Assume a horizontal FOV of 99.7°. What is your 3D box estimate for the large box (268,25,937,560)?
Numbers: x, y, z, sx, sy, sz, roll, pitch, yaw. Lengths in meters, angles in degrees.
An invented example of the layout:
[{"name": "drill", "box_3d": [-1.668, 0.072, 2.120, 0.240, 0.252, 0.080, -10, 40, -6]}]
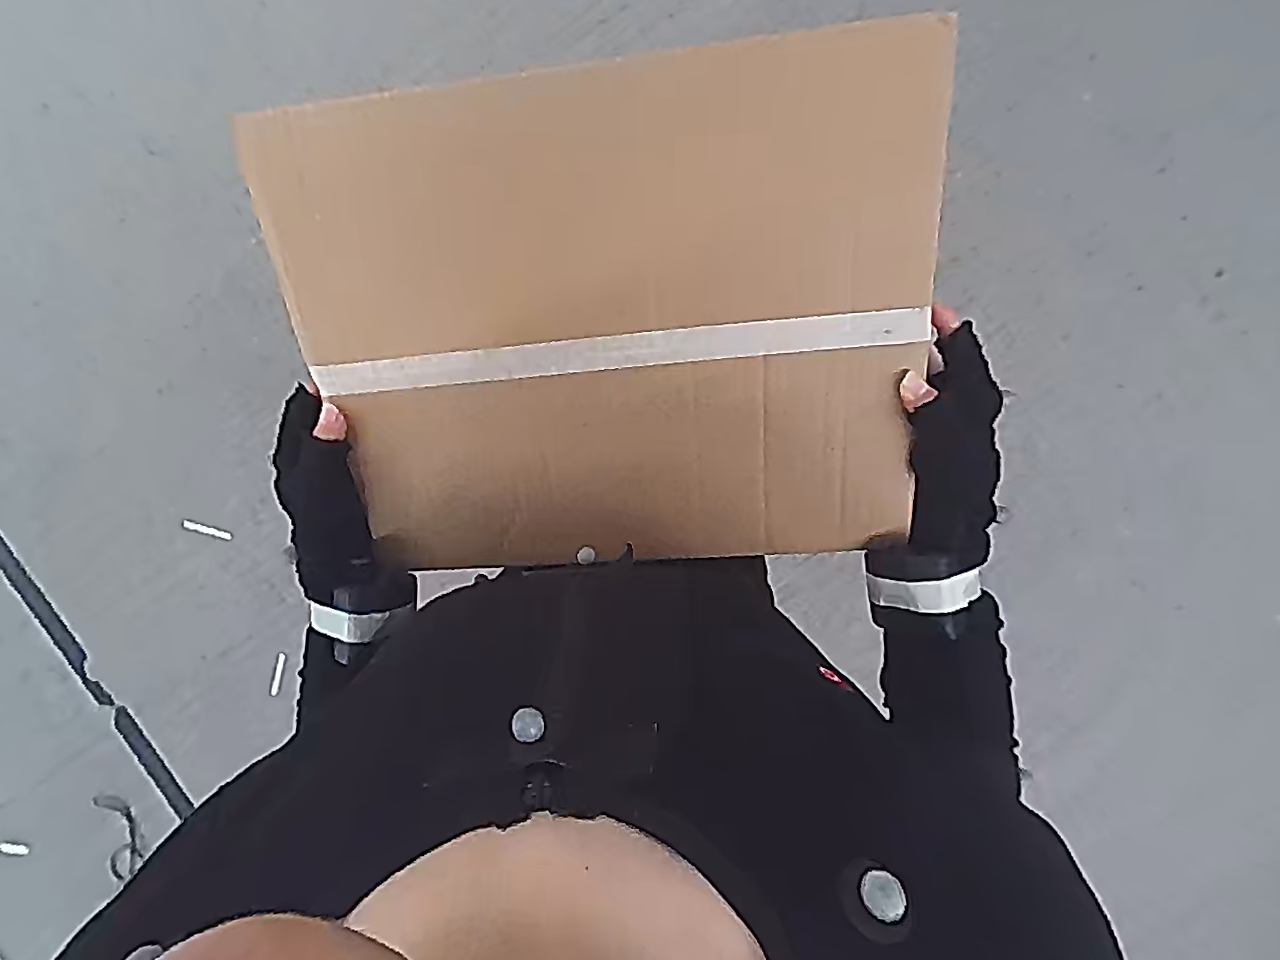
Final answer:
[{"name": "large box", "box_3d": [-0.011, -0.148, 0.505, 0.408, 0.320, 0.320, -4, 114, 6]}]
